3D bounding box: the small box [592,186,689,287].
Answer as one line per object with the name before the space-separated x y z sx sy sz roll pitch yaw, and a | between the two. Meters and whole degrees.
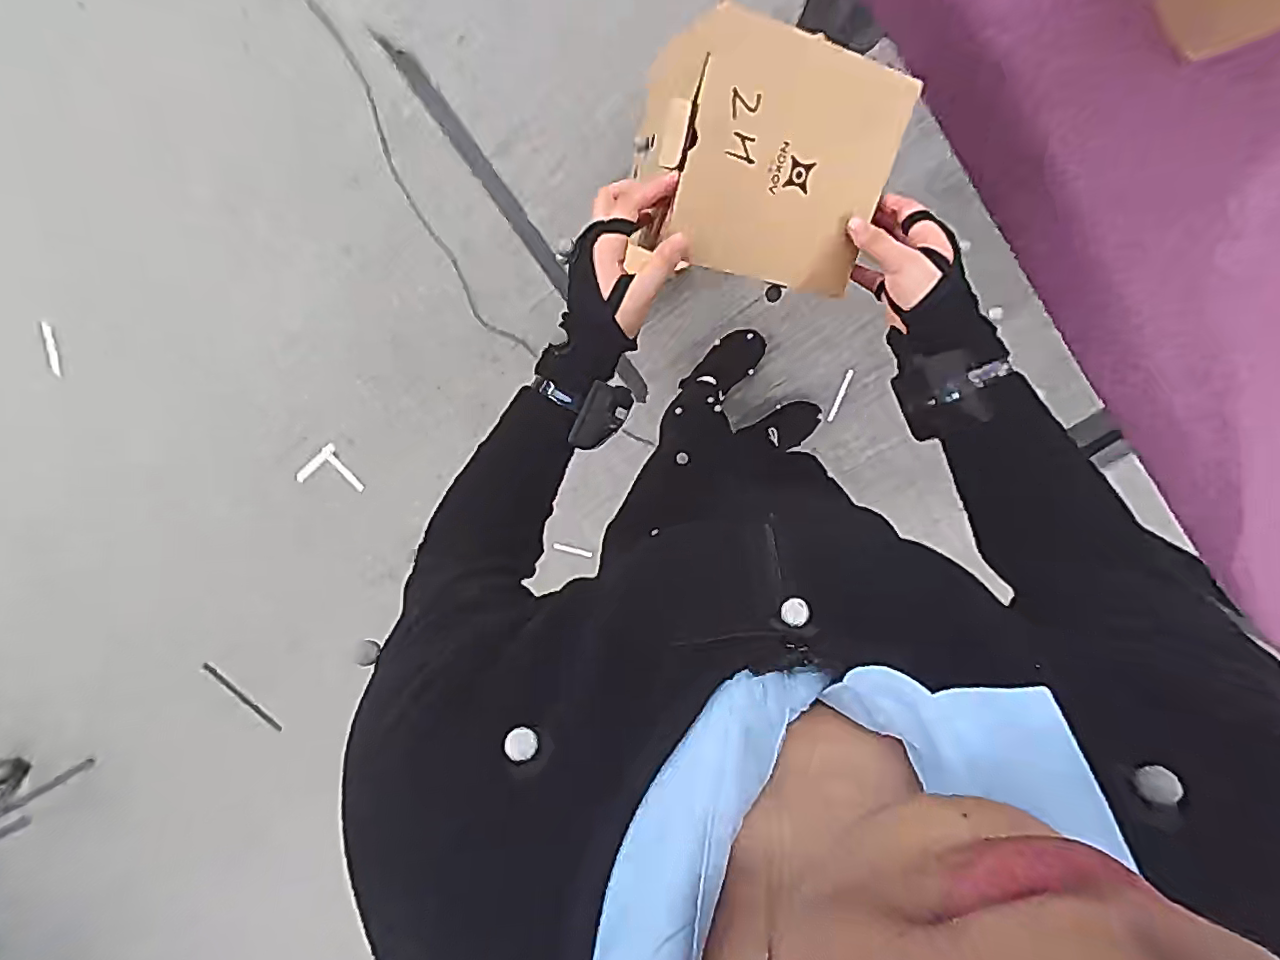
small box | 0.009 -0.541 1.224 0.179 0.176 0.168 -13 109 10
